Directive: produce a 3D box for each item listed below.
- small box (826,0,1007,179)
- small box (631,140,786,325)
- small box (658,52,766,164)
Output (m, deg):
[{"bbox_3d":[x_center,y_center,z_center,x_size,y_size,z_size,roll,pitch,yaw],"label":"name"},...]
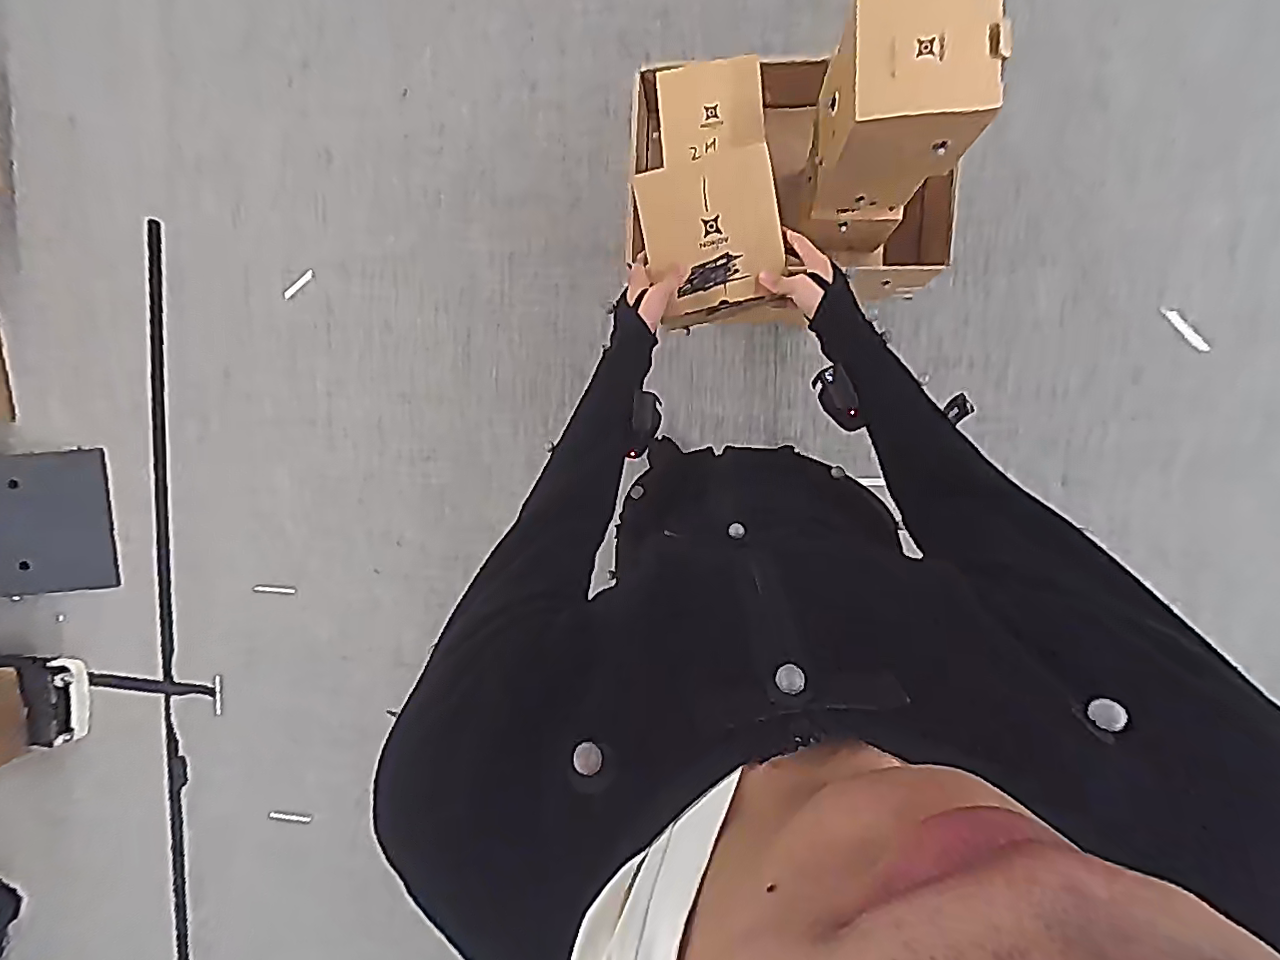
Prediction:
[{"bbox_3d":[0.366,-0.540,0.742,0.179,0.176,0.168,0,93,7],"label":"small box"},{"bbox_3d":[0.090,-0.313,0.729,0.168,0.176,0.179,-11,99,6],"label":"small box"},{"bbox_3d":[0.123,-0.583,0.937,0.168,0.176,0.179,-4,94,8],"label":"small box"}]
